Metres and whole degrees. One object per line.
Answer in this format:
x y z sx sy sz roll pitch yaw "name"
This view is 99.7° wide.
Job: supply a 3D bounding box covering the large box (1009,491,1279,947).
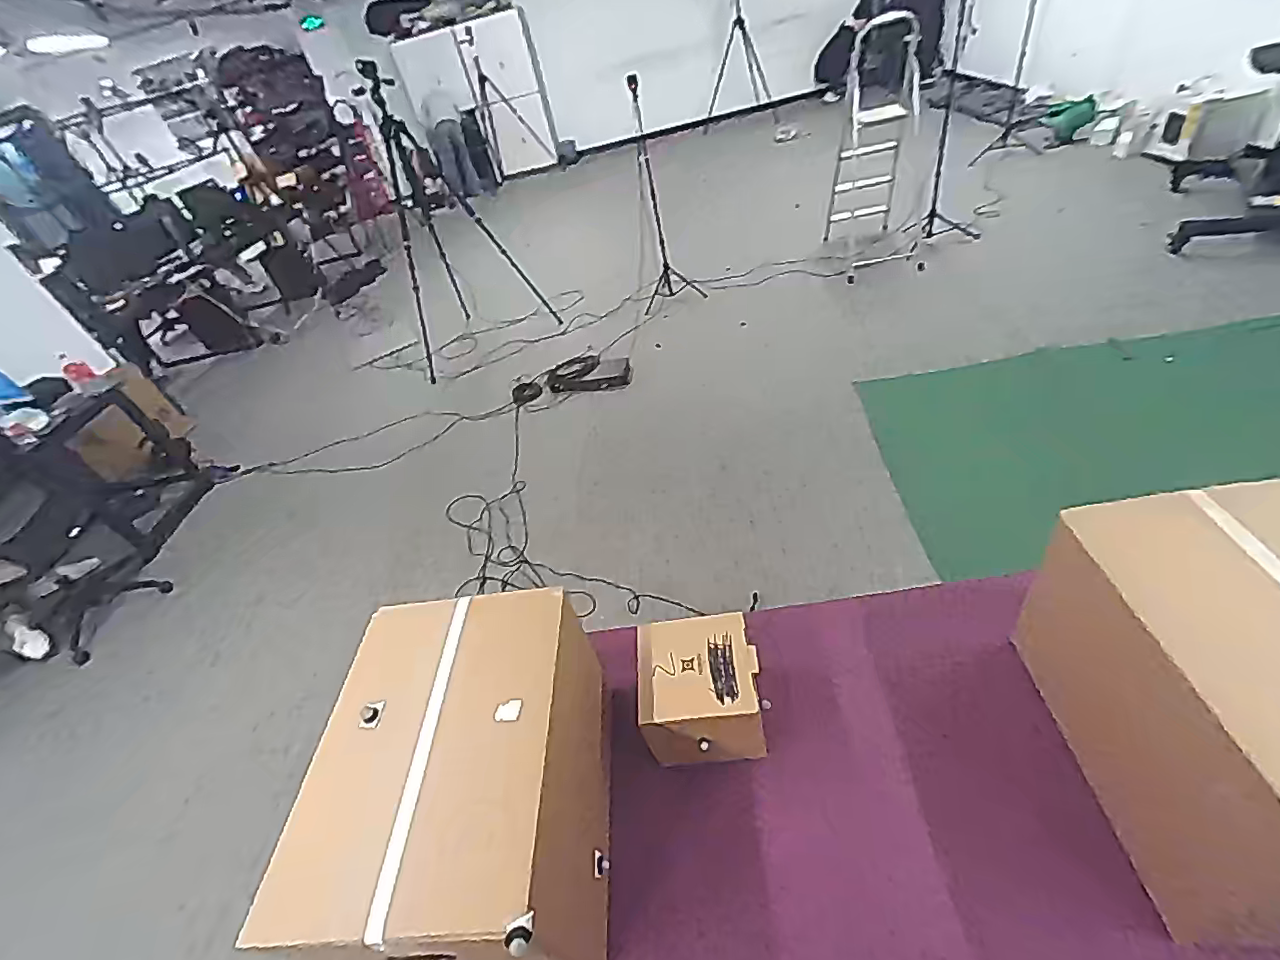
0.728 0.268 0.641 0.320 0.320 0.408 -9 41 10 "large box"
